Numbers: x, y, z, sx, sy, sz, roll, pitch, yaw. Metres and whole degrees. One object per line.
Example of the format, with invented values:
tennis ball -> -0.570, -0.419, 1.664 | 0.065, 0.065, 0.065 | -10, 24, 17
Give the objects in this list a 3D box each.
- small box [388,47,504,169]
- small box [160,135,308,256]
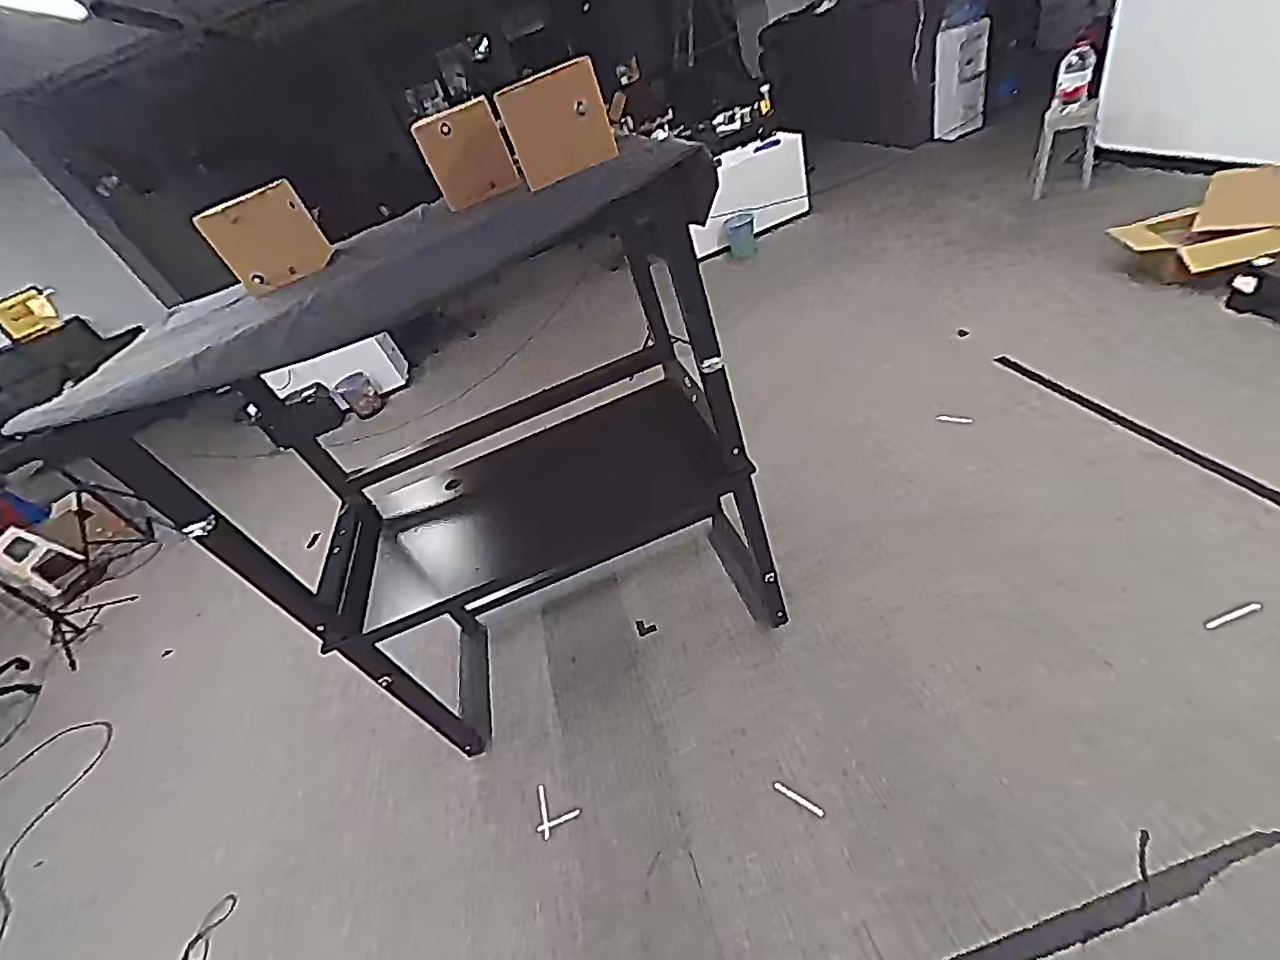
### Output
small box -> -0.402, -0.783, 1.146 | 0.168, 0.176, 0.179 | -23, 39, 0
small box -> -0.834, -0.594, 1.135 | 0.168, 0.176, 0.179 | -25, 39, -4
